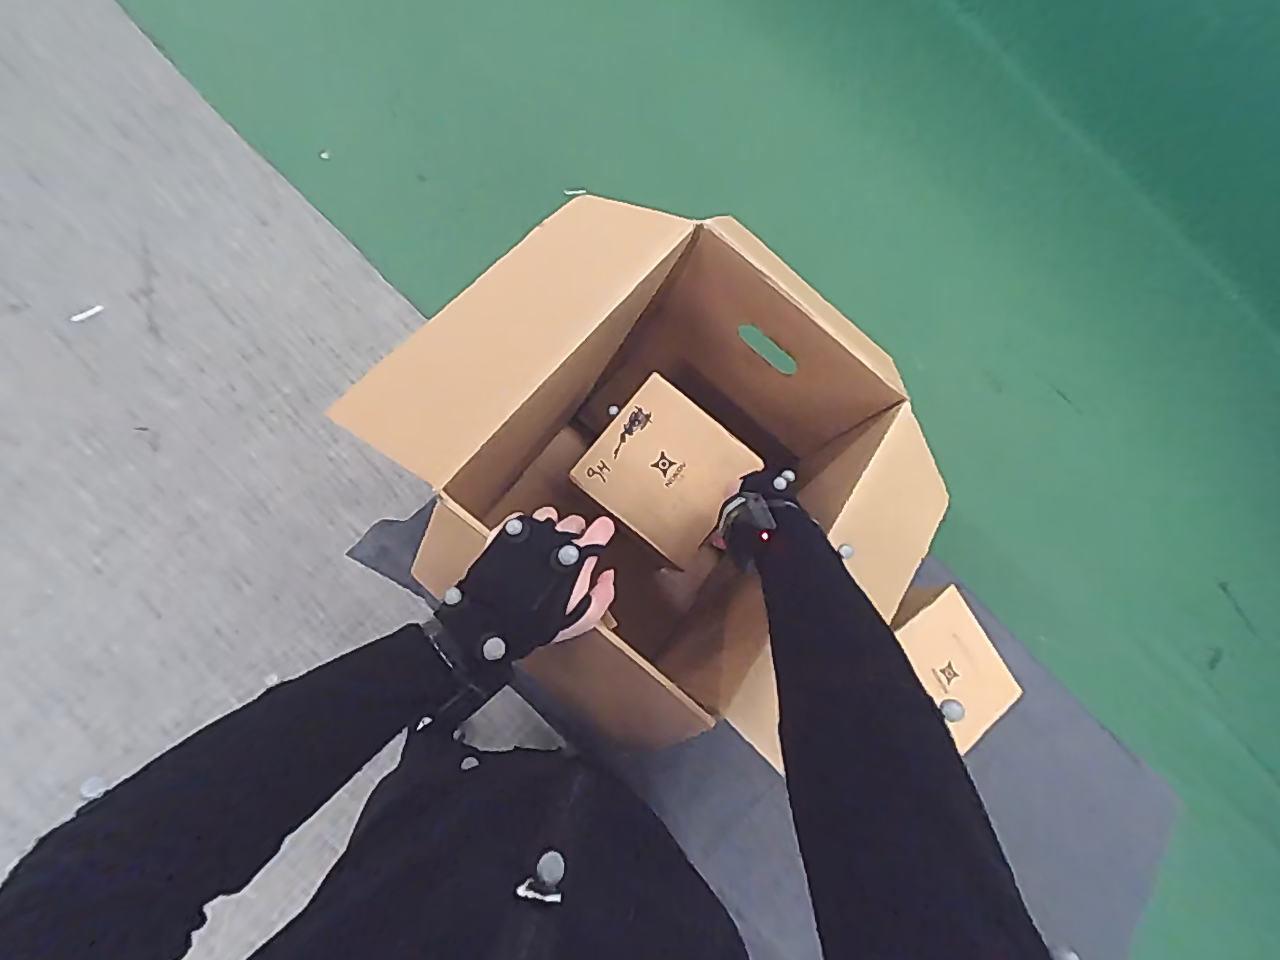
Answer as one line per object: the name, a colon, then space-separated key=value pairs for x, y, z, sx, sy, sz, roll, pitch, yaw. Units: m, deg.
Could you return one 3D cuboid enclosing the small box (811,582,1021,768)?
small box: x=0.371 y=0.265 z=0.763 sx=0.179 sy=0.176 sz=0.168 roll=-29 pitch=85 yaw=-22
